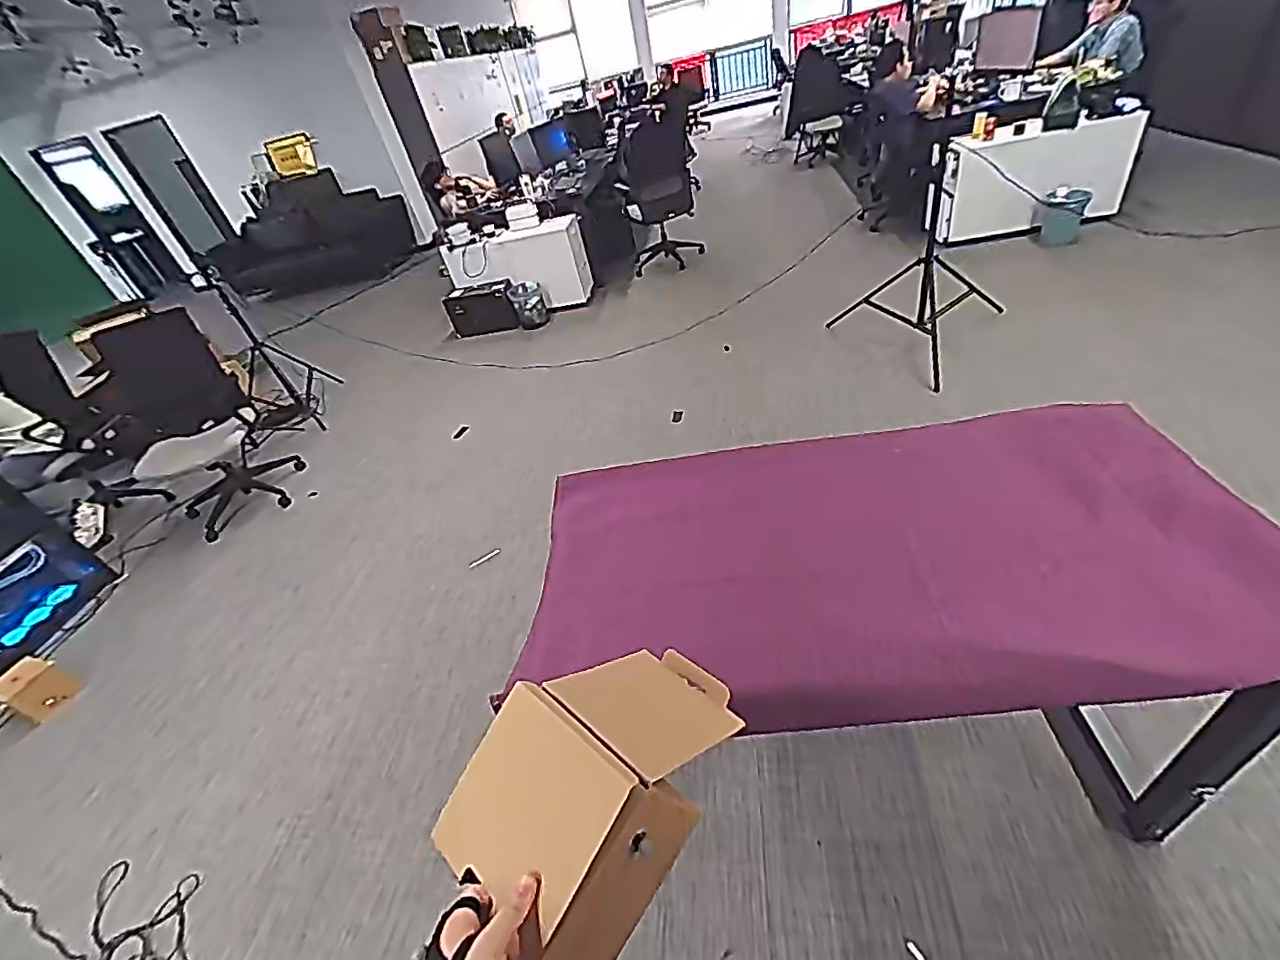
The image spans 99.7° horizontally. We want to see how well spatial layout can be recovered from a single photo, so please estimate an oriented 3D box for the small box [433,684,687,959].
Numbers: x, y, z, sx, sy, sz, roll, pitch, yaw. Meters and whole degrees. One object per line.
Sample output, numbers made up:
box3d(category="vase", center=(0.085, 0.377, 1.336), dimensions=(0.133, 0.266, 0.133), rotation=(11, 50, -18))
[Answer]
box3d(category="small box", center=(-0.069, 0.357, 0.569), dimensions=(0.168, 0.176, 0.179), rotation=(23, 67, 39))
